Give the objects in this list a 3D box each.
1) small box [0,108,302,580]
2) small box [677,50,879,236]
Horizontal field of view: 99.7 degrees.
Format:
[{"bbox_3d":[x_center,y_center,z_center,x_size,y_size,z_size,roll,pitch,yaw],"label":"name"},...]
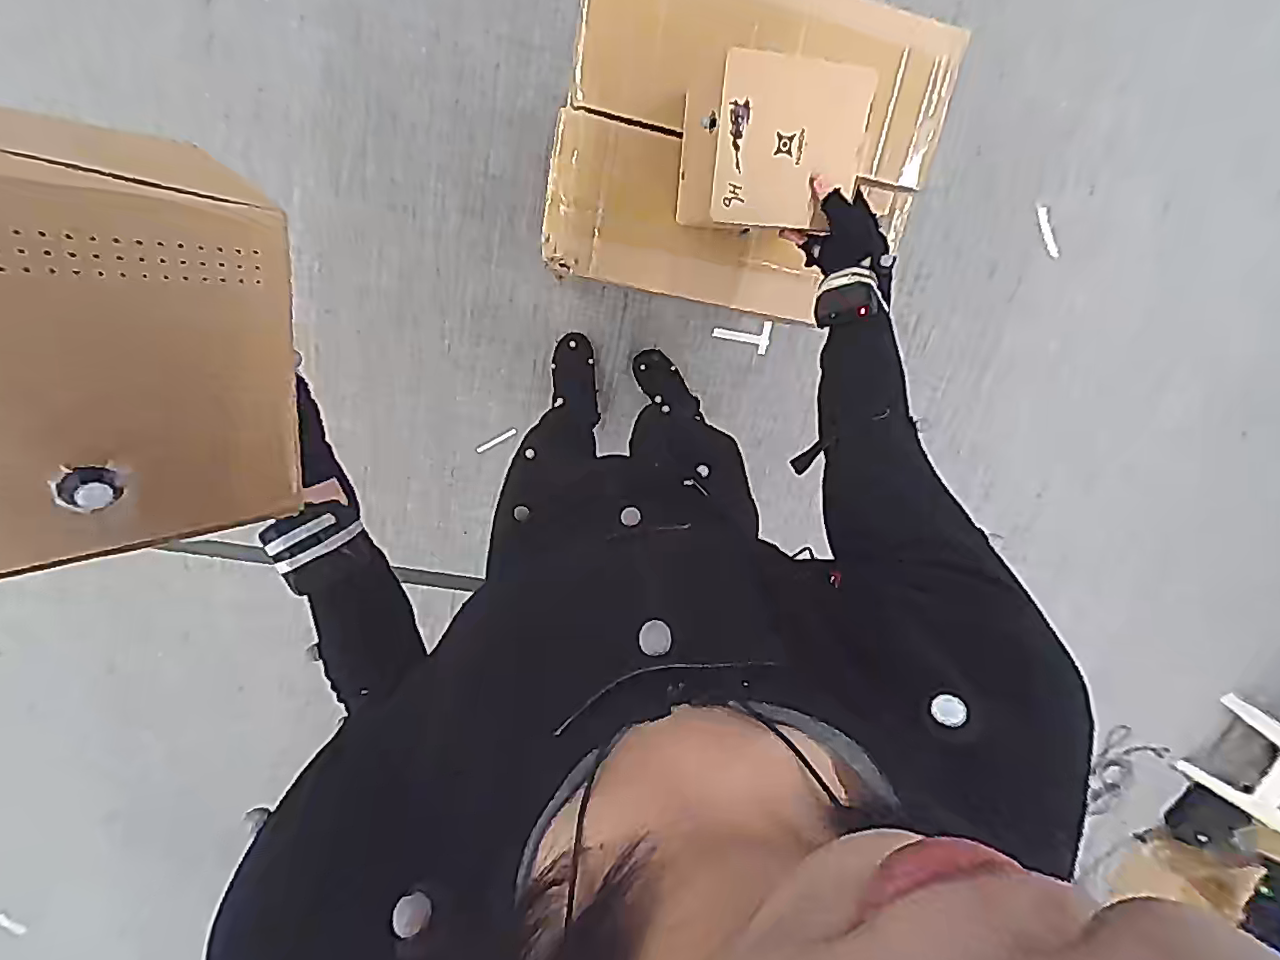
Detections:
[{"bbox_3d":[-0.288,-0.075,0.256,0.179,0.168,0.176,-15,131,-44],"label":"small box"},{"bbox_3d":[0.156,-0.400,0.671,0.179,0.176,0.168,-1,114,-10],"label":"small box"}]
